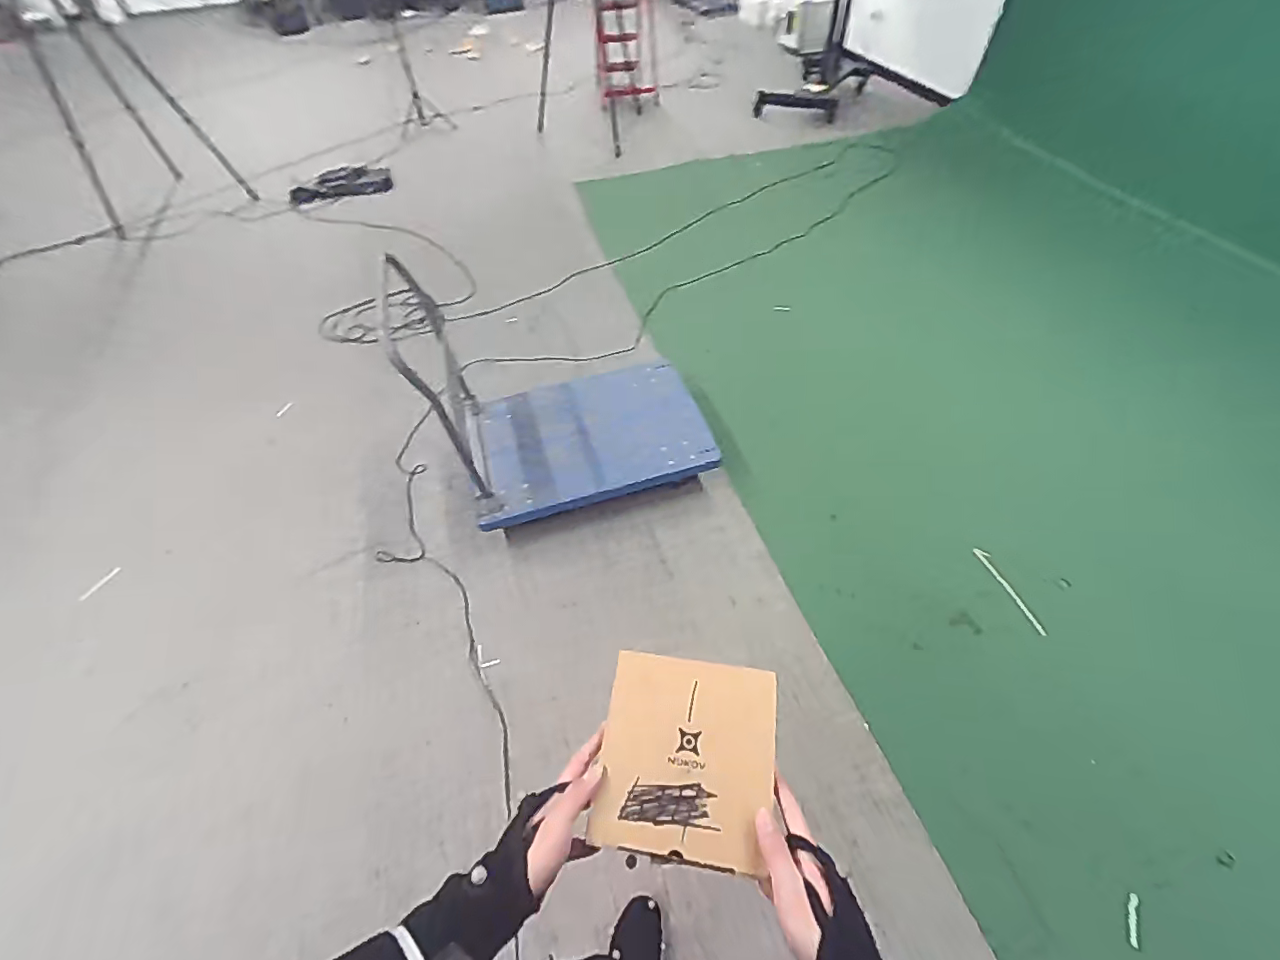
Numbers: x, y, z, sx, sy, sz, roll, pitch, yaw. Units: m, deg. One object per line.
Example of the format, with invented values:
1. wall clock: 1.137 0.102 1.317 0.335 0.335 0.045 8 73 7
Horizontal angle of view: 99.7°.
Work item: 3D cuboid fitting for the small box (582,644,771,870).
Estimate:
1. small box: 0.047 0.297 0.581 0.168 0.176 0.179 5 55 8
